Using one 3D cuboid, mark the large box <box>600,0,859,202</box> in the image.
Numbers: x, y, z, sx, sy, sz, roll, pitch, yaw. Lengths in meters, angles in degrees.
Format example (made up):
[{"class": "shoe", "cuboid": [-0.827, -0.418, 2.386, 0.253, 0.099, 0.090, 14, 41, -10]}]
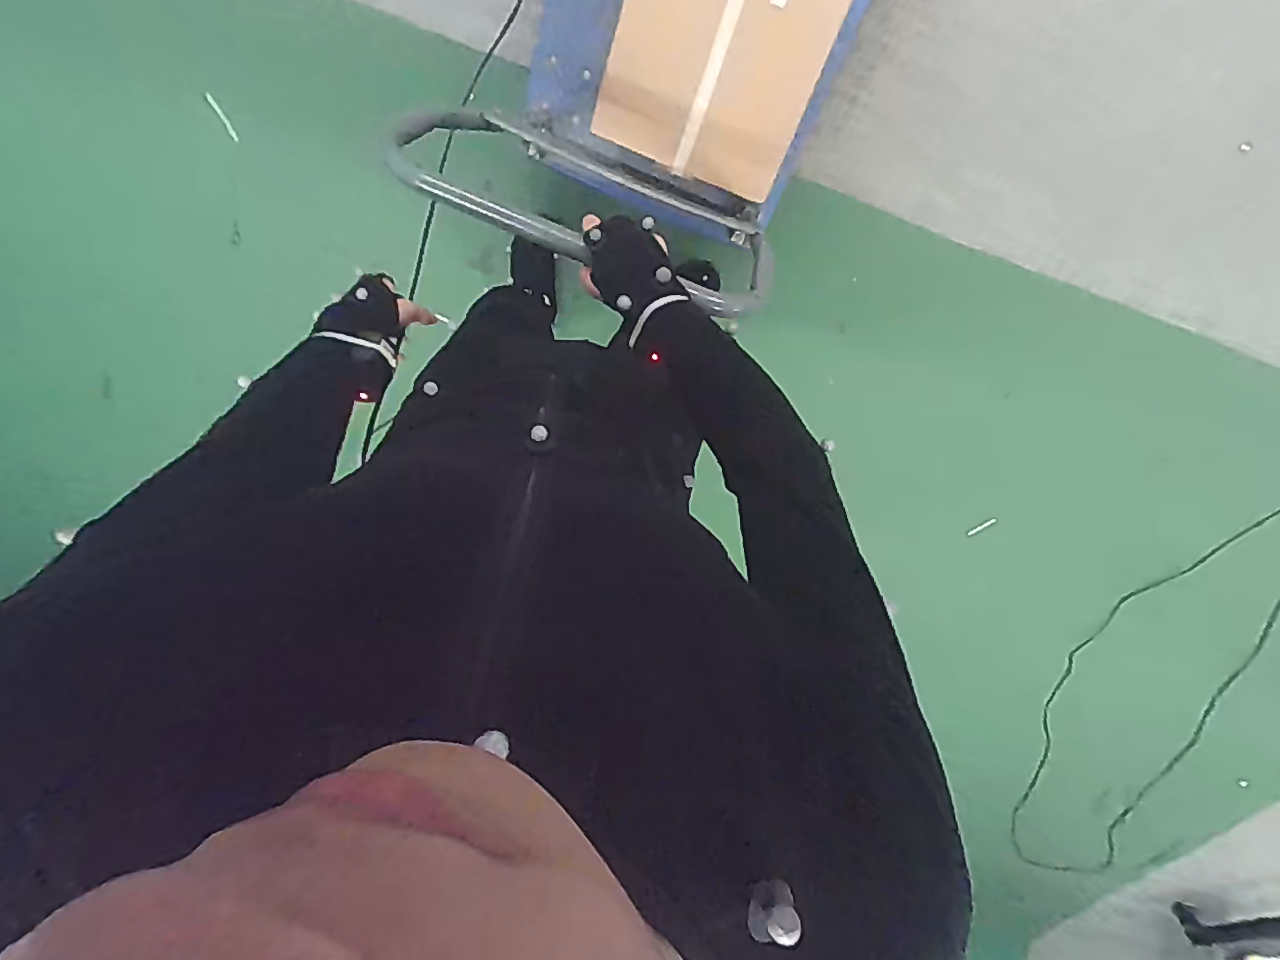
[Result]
[{"class": "large box", "cuboid": [0.157, -0.743, 0.931, 0.320, 0.320, 0.408, 21, 119, -5]}]
